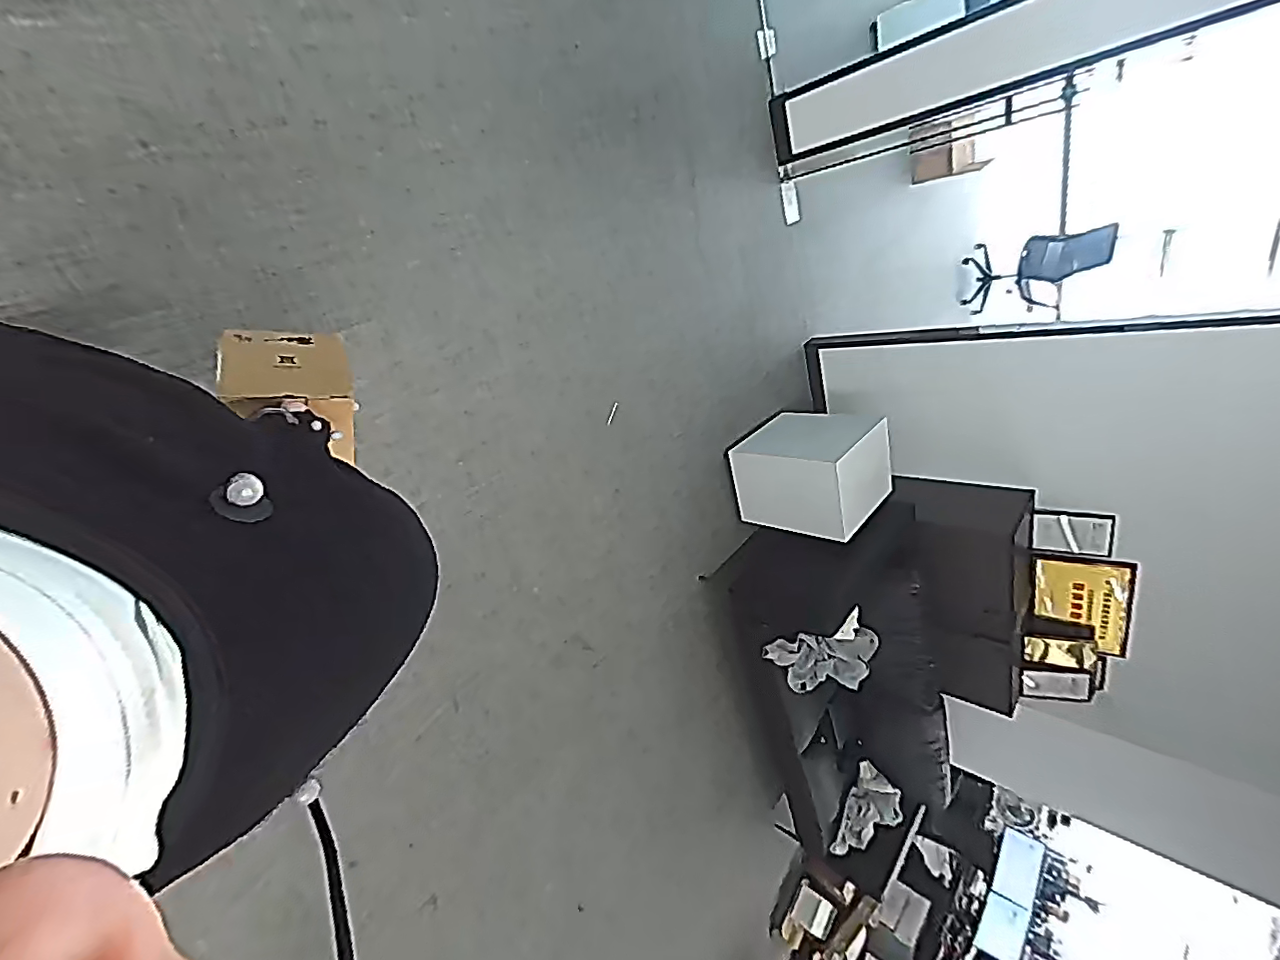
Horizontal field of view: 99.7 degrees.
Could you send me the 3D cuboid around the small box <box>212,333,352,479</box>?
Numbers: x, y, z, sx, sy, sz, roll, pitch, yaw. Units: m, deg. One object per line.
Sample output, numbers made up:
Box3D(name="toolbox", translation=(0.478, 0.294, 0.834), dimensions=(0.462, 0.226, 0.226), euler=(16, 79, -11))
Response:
Box3D(name="small box", translation=(-0.562, -0.114, 0.860), dimensions=(0.168, 0.179, 0.176), euler=(-8, 138, -32))
